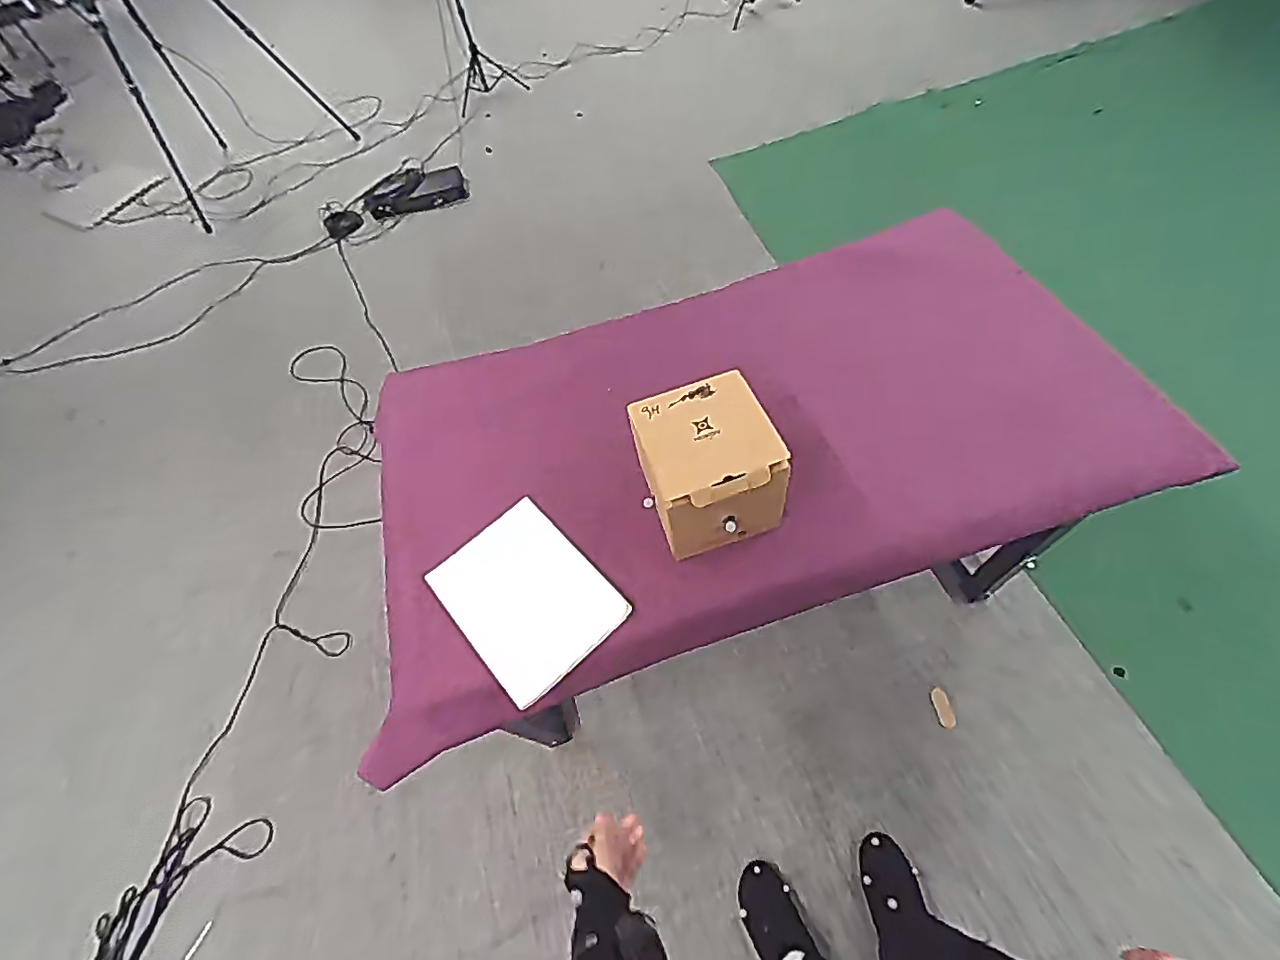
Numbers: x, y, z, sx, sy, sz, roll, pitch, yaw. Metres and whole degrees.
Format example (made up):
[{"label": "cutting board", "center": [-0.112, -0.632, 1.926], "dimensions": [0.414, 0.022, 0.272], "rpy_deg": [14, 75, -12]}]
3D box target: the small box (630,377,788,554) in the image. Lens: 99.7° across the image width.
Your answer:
[{"label": "small box", "center": [0.096, -0.010, 0.776], "dimensions": [0.168, 0.176, 0.179], "rpy_deg": [-18, 58, -2]}]
